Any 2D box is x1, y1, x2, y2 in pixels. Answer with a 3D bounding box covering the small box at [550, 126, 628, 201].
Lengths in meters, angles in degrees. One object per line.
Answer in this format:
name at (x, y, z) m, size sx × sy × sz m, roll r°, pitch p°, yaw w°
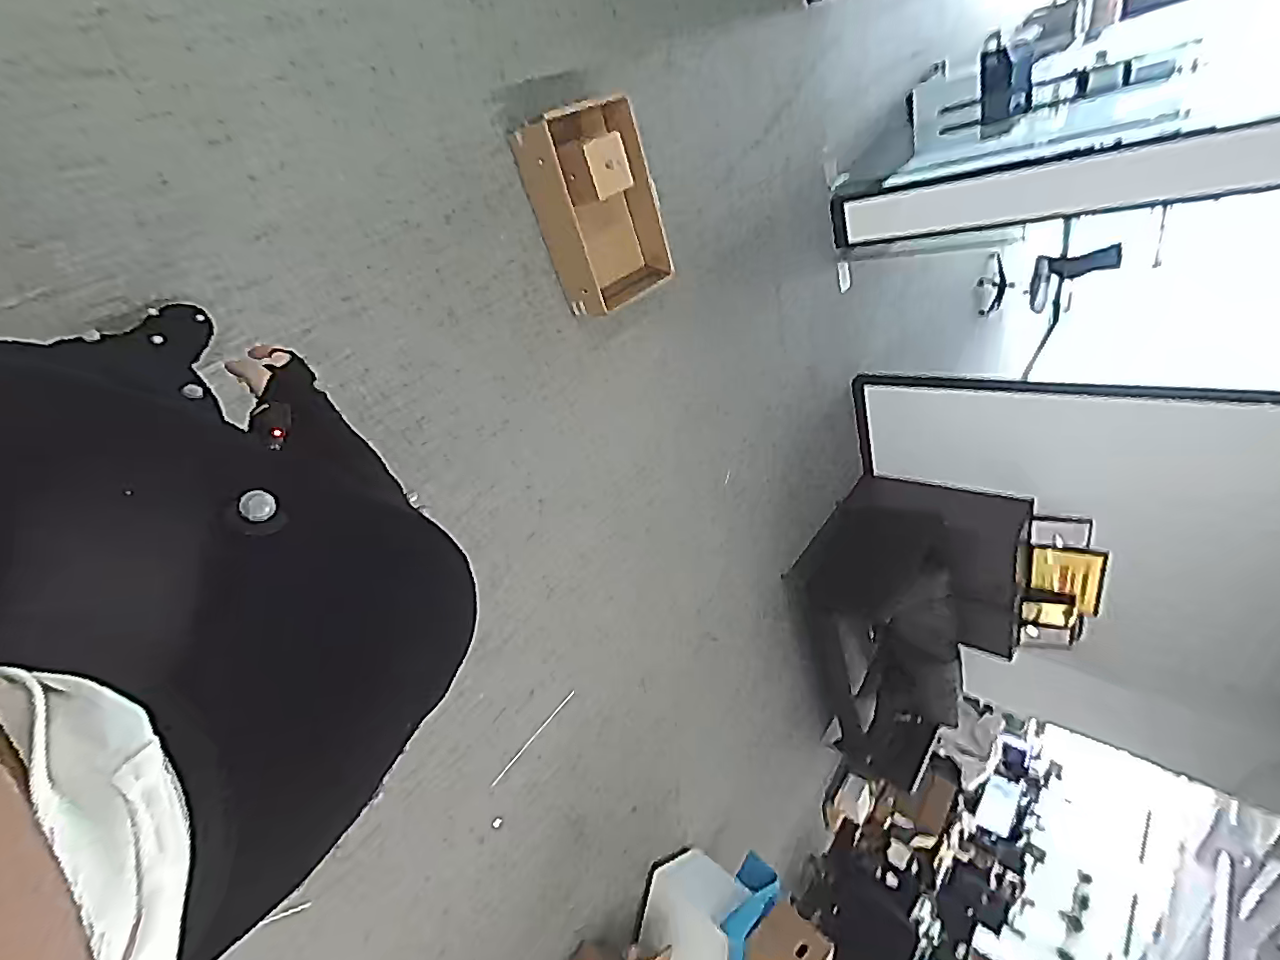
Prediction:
small box at (-0.175, -1.045, 1.794) m, size 0.179 × 0.176 × 0.168 m, roll -43°, pitch 129°, yaw -31°
